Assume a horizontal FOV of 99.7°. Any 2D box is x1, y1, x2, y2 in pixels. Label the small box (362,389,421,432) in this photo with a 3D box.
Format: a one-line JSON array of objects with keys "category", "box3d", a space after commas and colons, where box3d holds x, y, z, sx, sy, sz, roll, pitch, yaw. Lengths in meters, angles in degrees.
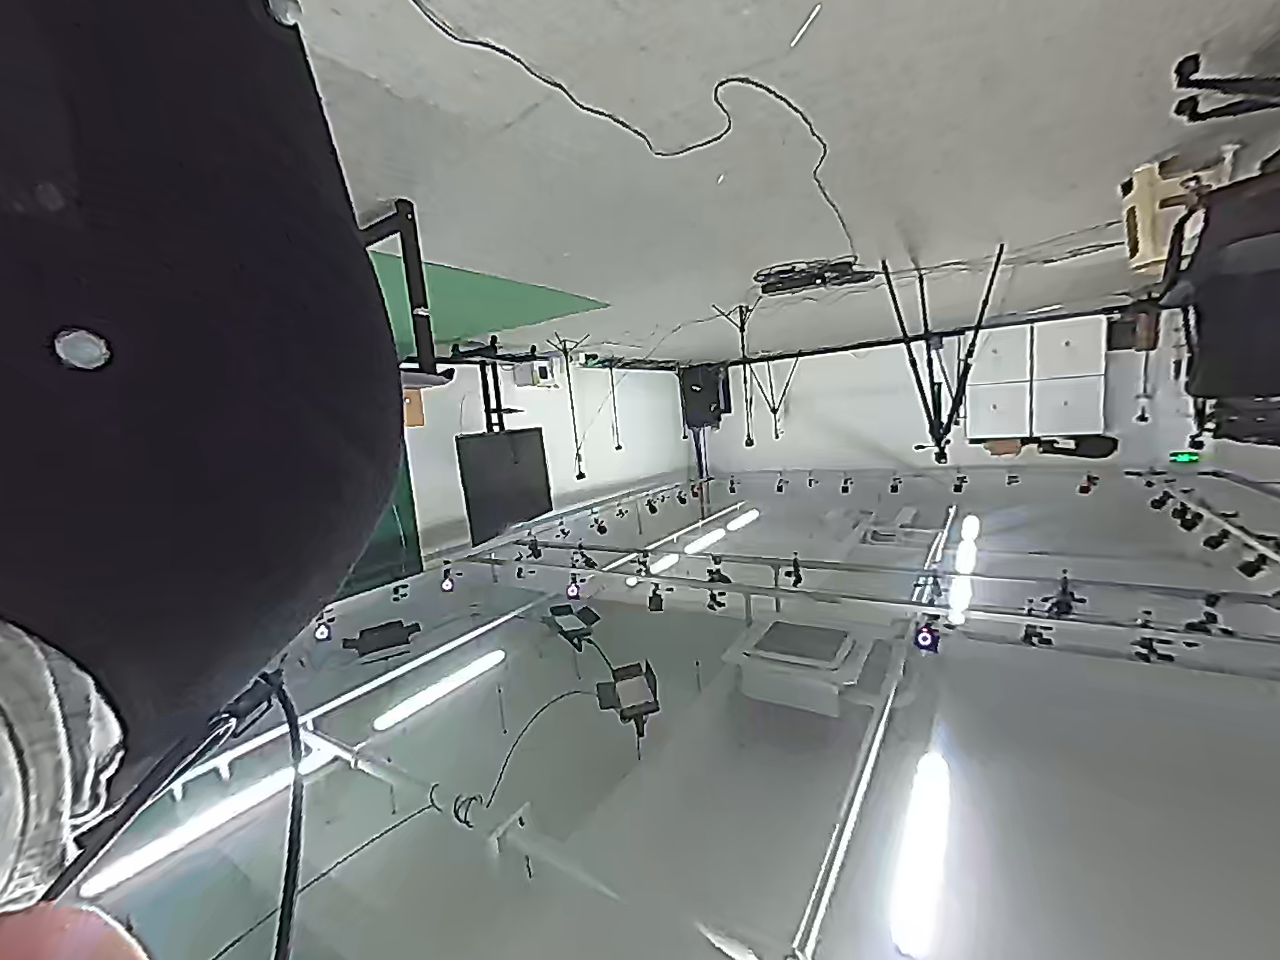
[{"category": "small box", "box3d": [-1.079, -0.301, 2.338, 0.179, 0.176, 0.168, 0, -172, 34]}]
